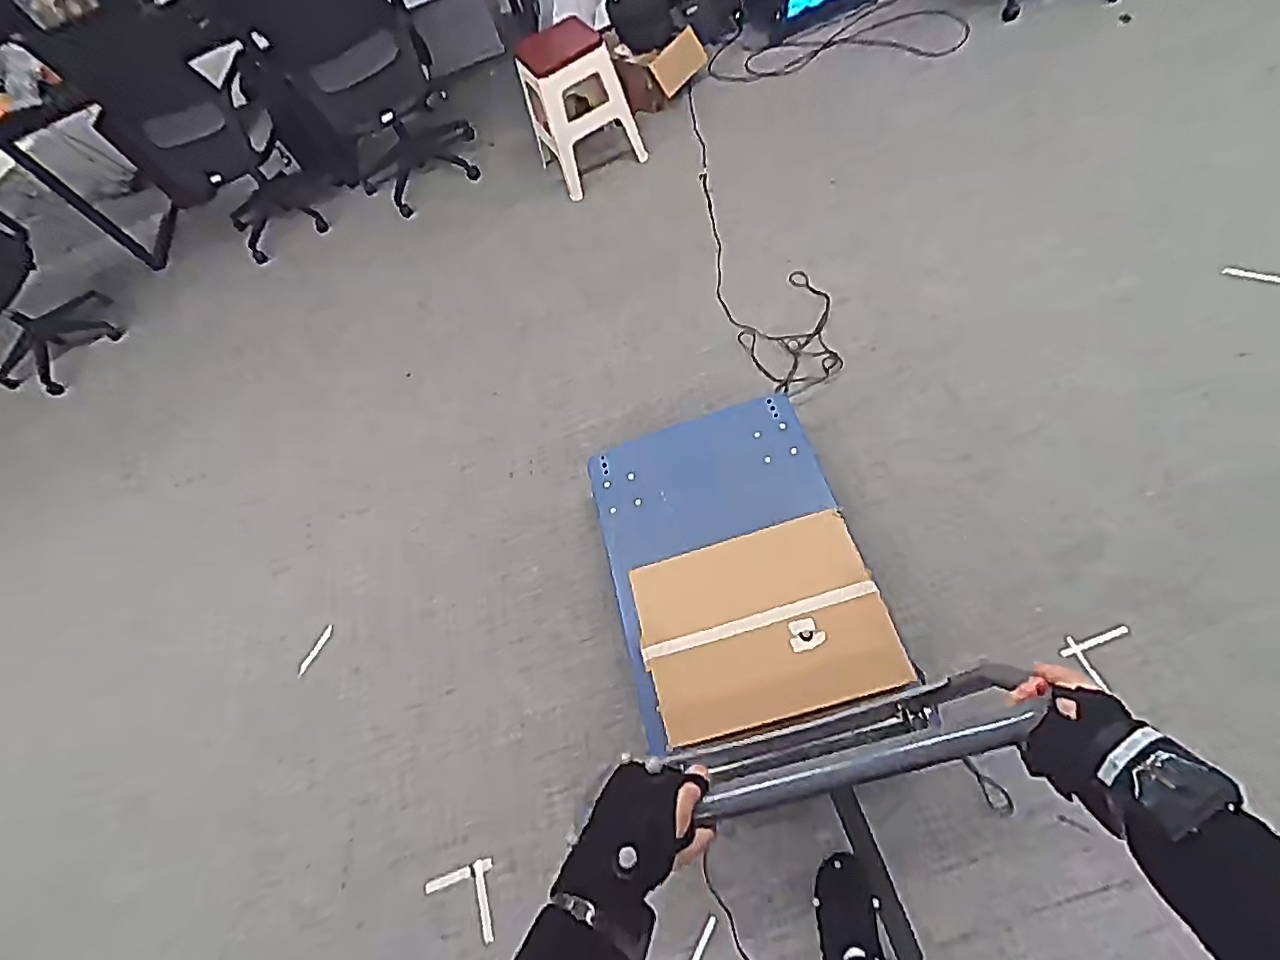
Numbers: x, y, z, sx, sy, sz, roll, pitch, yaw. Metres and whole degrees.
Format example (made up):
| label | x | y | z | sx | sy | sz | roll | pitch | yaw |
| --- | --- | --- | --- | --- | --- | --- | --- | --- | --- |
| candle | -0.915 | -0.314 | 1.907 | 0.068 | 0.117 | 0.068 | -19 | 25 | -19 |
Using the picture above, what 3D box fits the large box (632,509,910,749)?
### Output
| label | x | y | z | sx | sy | sz | roll | pitch | yaw |
| --- | --- | --- | --- | --- | --- | --- | --- | --- | --- |
| large box | 0.237 | 0.310 | 1.067 | 0.408 | 0.320 | 0.320 | -18 | 62 | 4 |
